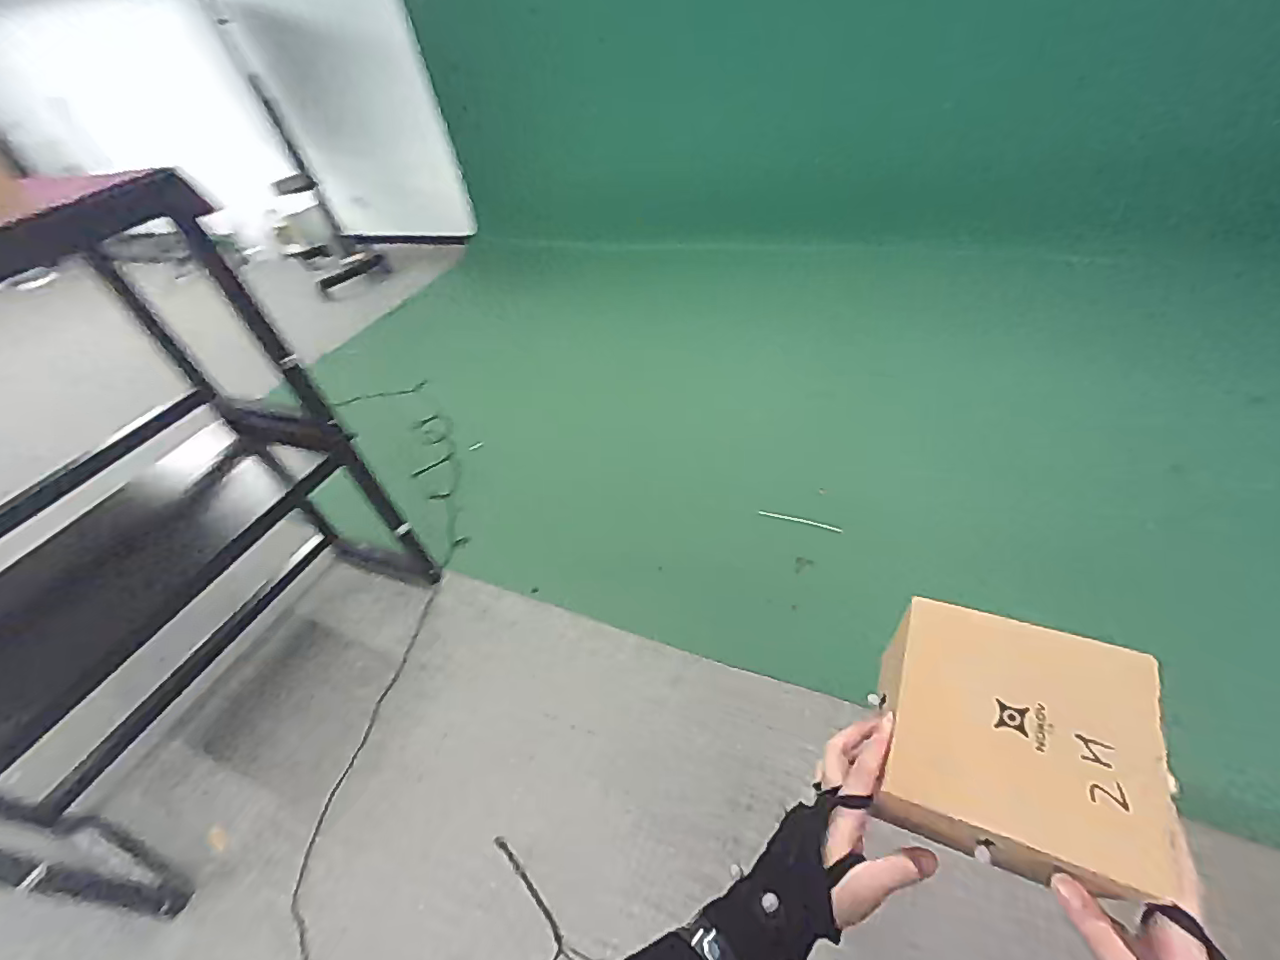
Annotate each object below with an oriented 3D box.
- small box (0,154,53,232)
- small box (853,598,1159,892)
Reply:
[{"bbox_3d":[-1.268,-0.541,0.991,0.168,0.176,0.179,14,50,26],"label":"small box"},{"bbox_3d":[0.298,0.231,0.478,0.179,0.176,0.168,12,59,21],"label":"small box"}]
